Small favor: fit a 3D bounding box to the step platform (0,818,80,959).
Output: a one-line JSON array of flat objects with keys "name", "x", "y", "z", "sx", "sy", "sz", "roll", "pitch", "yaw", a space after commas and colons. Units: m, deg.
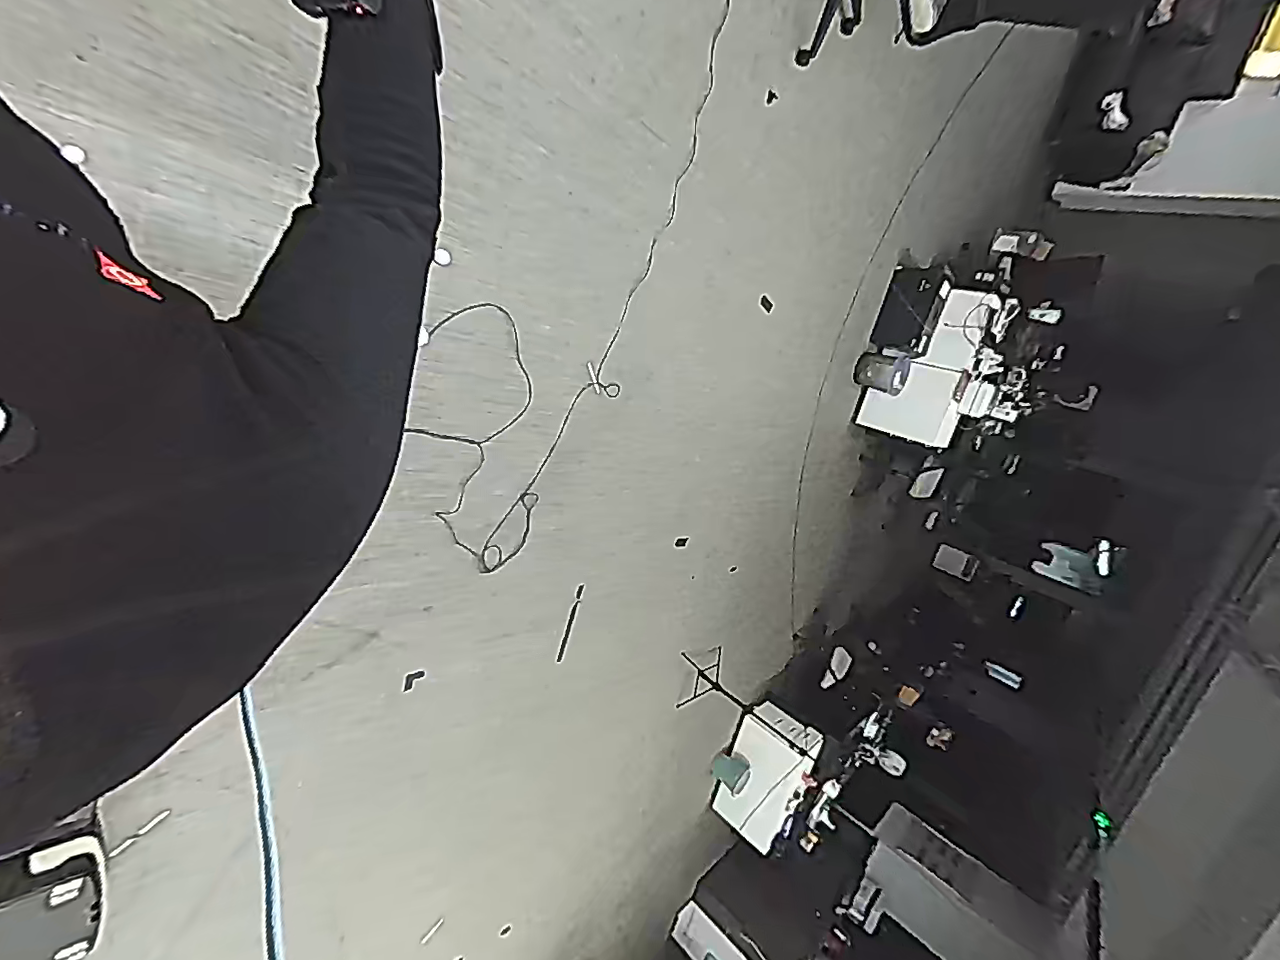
[{"name": "step platform", "x": -1.567, "y": 0.974, "z": 1.038, "sx": 0.684, "sy": 0.204, "sz": 0.286, "roll": -3, "pitch": 113, "yaw": -48}]
